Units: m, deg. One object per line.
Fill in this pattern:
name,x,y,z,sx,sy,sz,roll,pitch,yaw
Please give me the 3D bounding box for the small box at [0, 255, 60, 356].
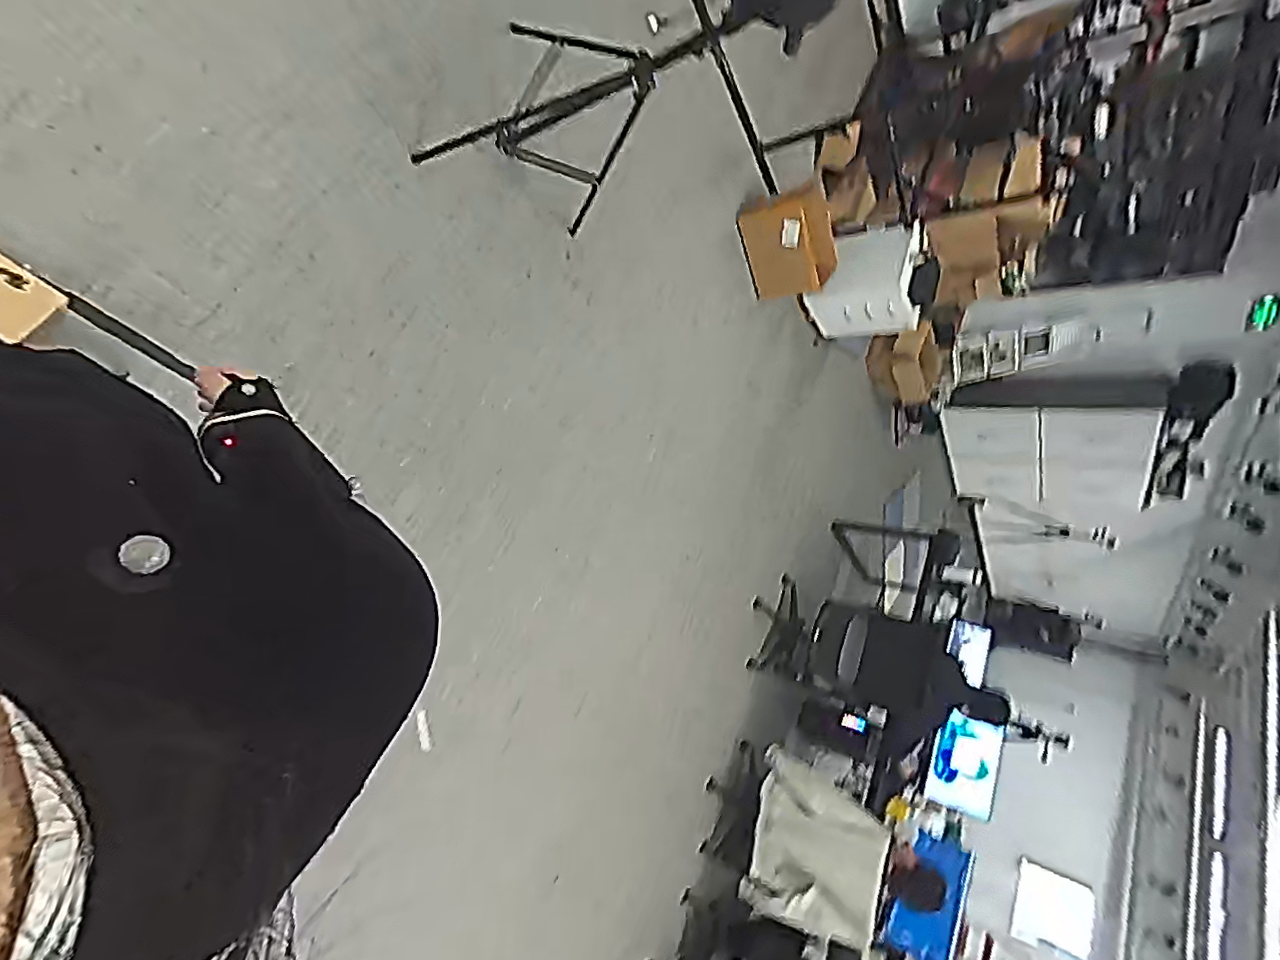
small box,-1.121,-0.298,0.890,0.168,0.176,0.179,49,60,-42
